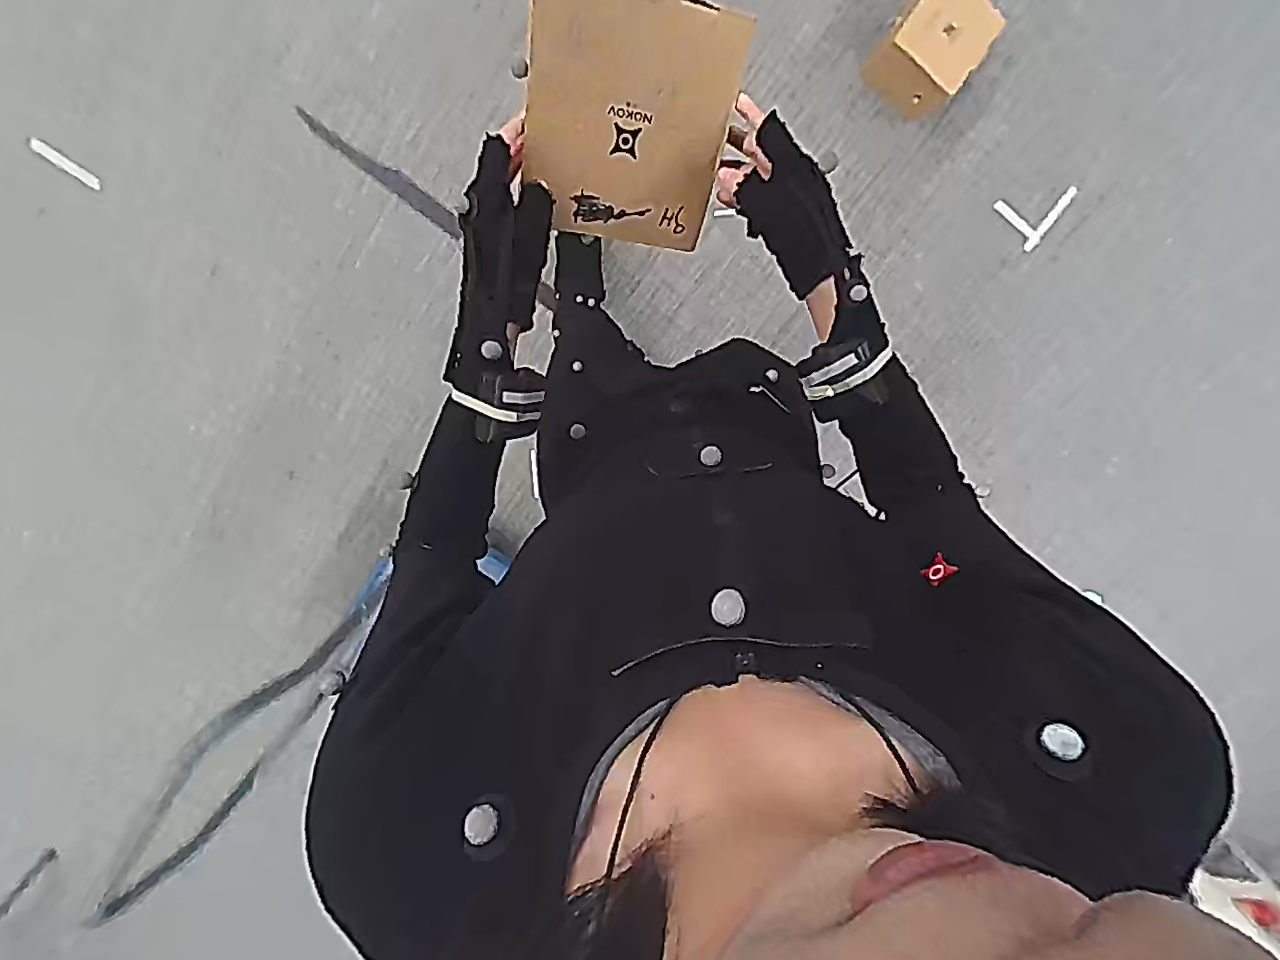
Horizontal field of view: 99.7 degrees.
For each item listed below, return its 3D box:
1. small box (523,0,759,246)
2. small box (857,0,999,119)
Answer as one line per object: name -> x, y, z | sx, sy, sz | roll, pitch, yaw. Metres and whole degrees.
small box -> -0.018, -0.344, 0.495 | 0.168, 0.176, 0.179 | 4, 131, -14
small box -> 0.620, -0.934, 1.187 | 0.179, 0.176, 0.168 | 33, 103, -11
